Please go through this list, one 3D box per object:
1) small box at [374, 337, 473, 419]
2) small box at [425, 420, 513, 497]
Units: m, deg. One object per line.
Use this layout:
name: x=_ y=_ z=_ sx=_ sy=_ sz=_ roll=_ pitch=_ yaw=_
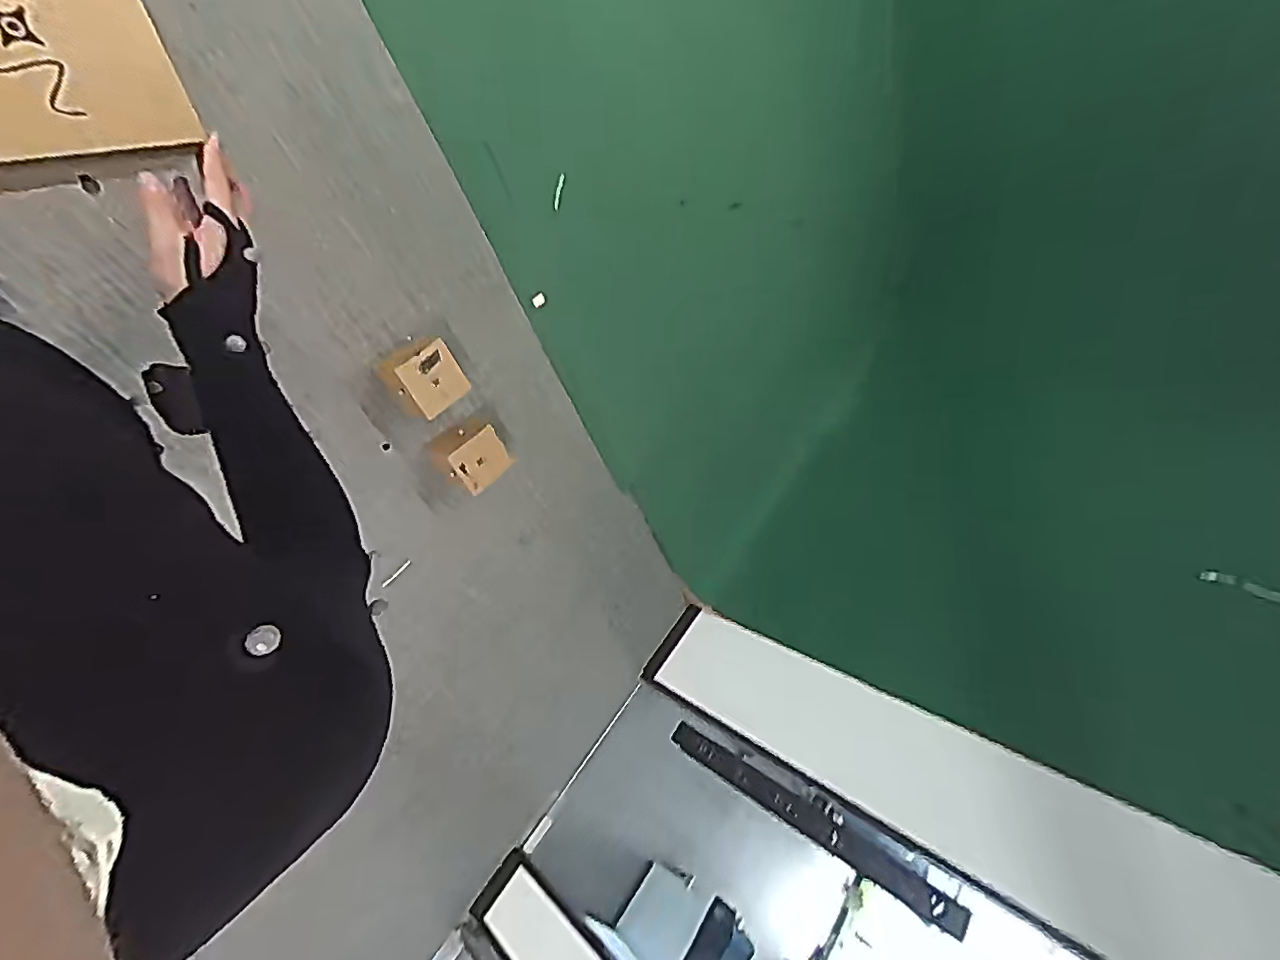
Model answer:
small box: x=-0.631 y=-0.300 z=1.569 sx=0.168 sy=0.176 sz=0.179 roll=-46 pitch=132 yaw=-26
small box: x=-0.549 y=-0.076 z=1.733 sx=0.179 sy=0.176 sz=0.168 roll=-45 pitch=131 yaw=-28
